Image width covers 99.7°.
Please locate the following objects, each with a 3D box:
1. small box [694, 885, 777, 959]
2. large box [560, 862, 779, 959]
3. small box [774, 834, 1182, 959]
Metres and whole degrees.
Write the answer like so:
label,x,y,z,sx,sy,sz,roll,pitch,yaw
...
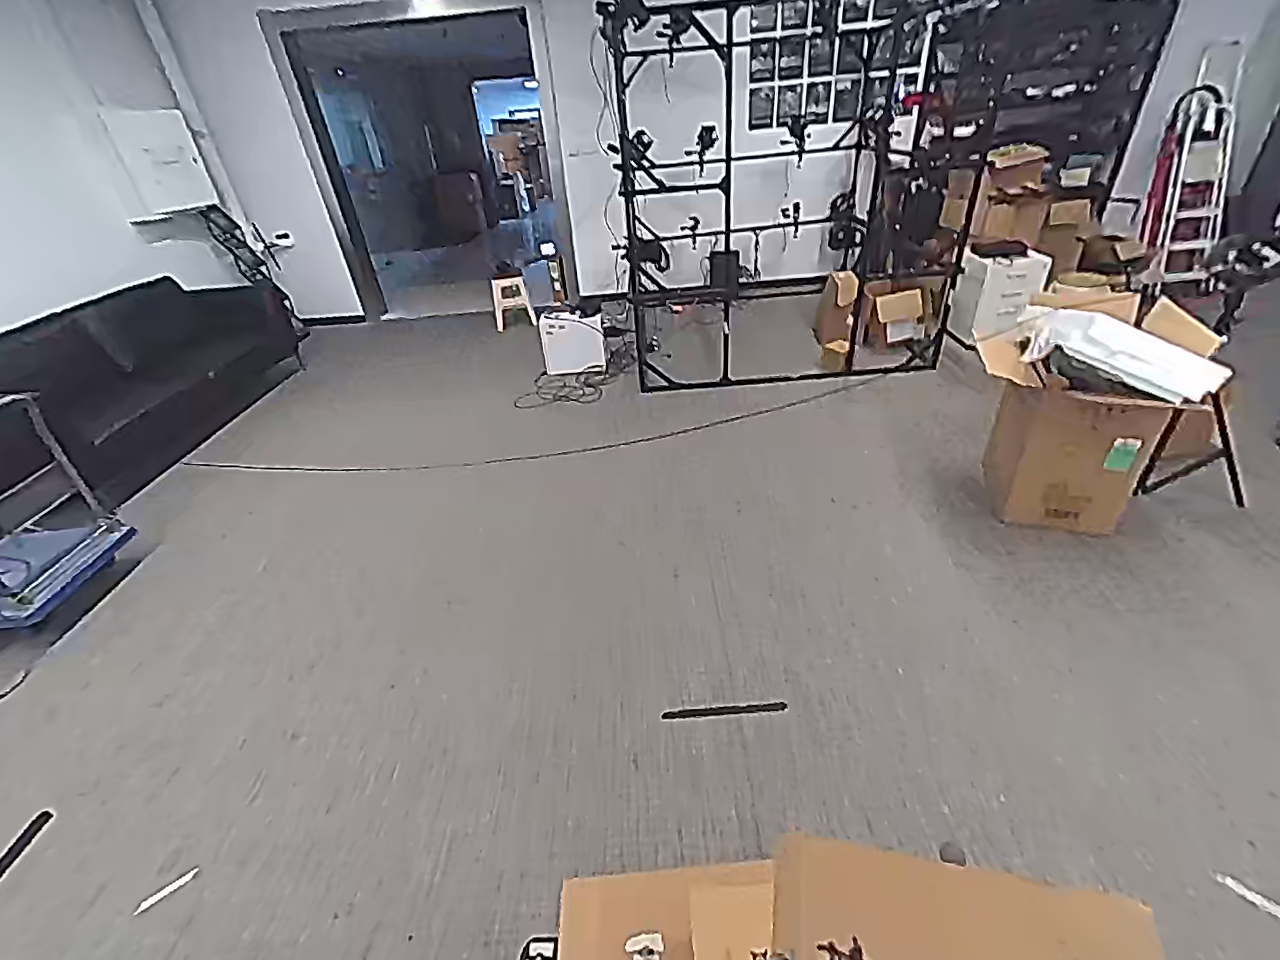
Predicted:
label,x,y,z,sx,sy,sz,roll,pitch,yaw
small box,0.164,0.665,0.714,0.179,0.176,0.168,-4,33,3
large box,0.093,0.870,0.862,0.408,0.320,0.320,-6,32,0
small box,0.175,0.318,0.312,0.179,0.176,0.168,5,57,11
